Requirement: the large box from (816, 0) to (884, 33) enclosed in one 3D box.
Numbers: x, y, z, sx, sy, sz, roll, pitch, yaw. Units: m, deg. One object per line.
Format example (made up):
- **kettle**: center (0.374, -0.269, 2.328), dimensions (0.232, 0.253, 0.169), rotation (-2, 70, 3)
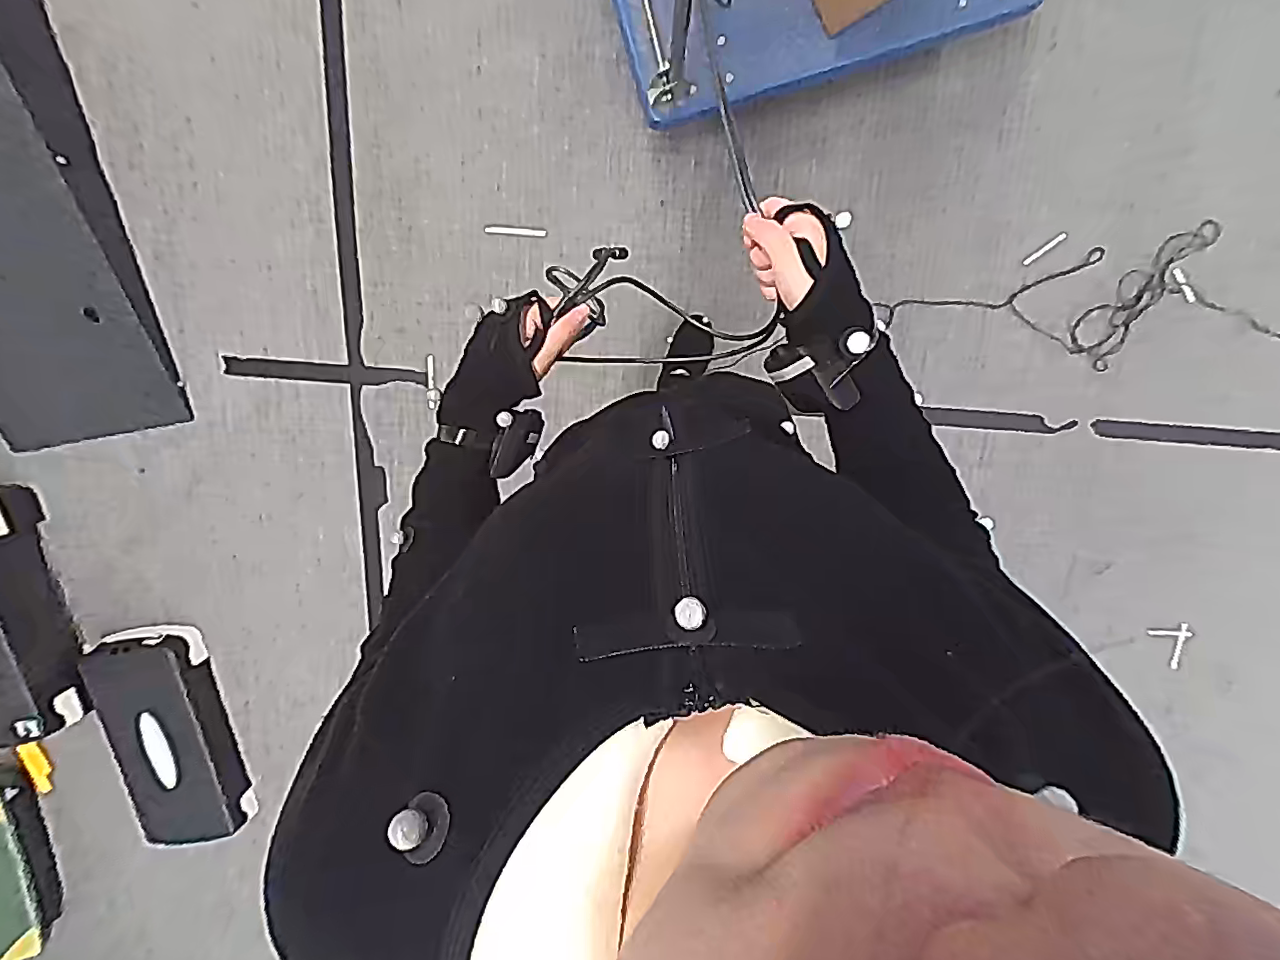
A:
- **large box**: center (0.425, -1.124, 0.918), dimensions (0.320, 0.320, 0.408), rotation (-30, 103, 6)
